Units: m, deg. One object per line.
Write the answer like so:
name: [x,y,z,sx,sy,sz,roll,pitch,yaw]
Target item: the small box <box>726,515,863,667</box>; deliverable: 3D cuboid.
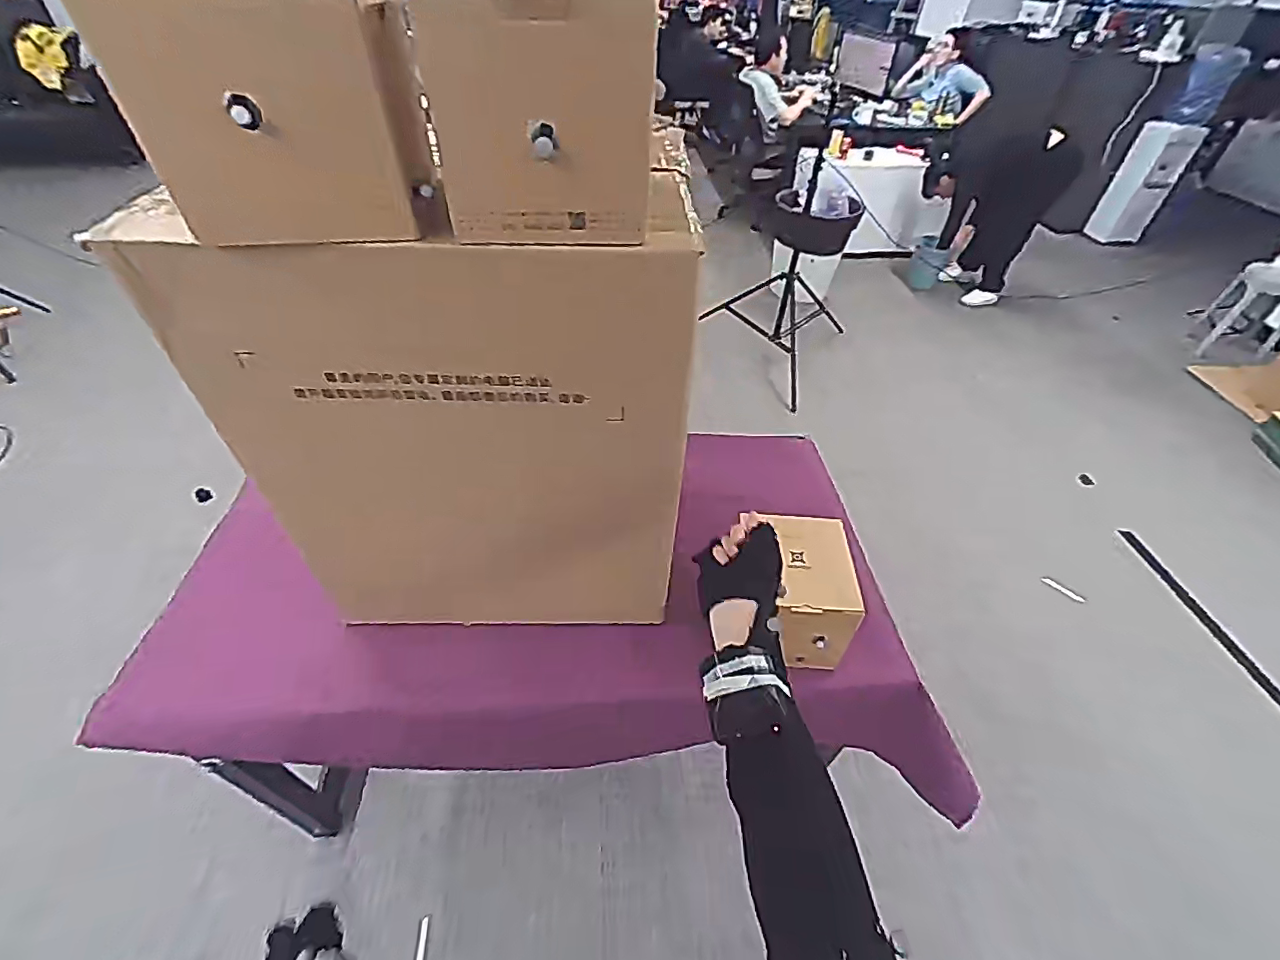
small box: [0.233,0.179,0.866,0.168,0.176,0.179,4,42,1]
